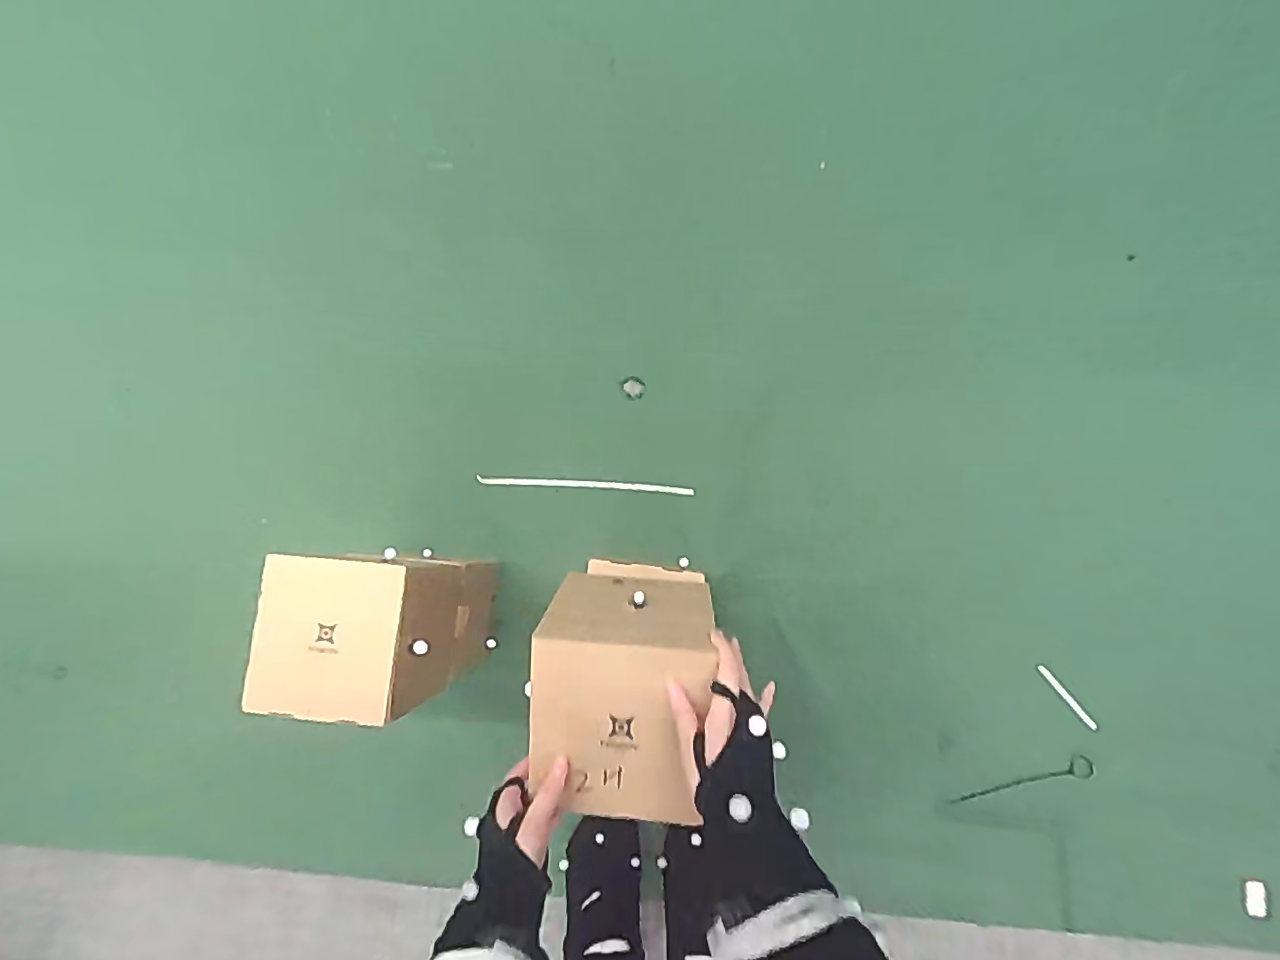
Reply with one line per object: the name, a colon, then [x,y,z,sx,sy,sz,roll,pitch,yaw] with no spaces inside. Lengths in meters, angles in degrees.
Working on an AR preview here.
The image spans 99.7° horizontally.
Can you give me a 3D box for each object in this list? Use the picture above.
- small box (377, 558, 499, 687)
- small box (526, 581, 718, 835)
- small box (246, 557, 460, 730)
small box: [-0.334,0.212,0.844,0.179,0.176,0.168,4,82,5]
small box: [-0.014,0.217,0.557,0.168,0.176,0.179,4,102,5]
small box: [-0.342,0.192,0.682,0.168,0.176,0.179,4,82,4]
